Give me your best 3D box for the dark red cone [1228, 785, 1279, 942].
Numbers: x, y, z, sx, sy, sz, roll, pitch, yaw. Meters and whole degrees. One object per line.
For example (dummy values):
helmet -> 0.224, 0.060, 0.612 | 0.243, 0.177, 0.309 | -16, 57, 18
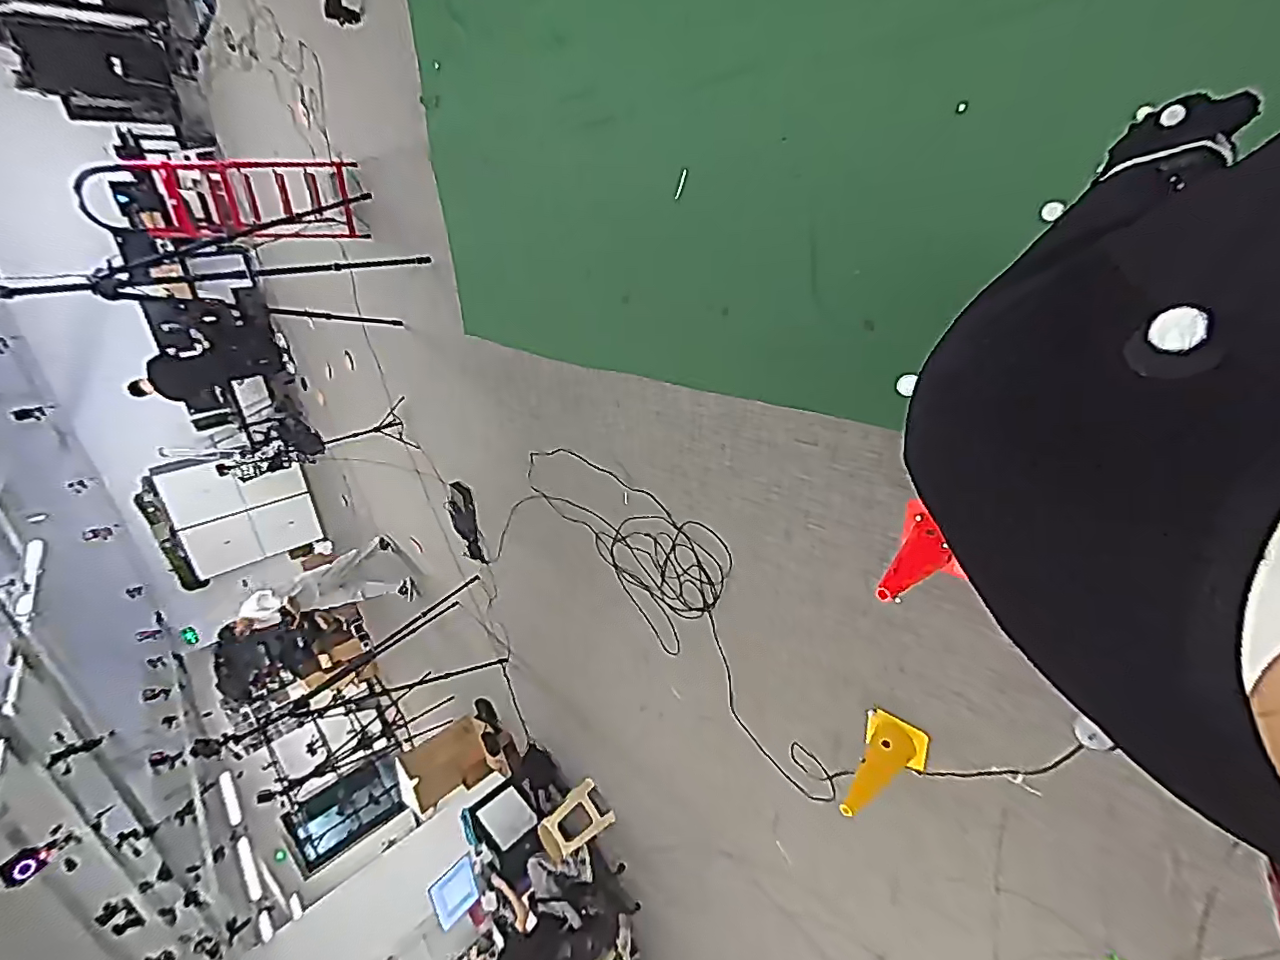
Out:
dark red cone -> 1.283, 0.810, 1.039 | 0.202, 0.394, 0.201 | 16, 119, 45

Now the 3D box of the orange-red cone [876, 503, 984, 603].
orange-red cone -> 0.728, 0.232, 1.433 | 0.198, 0.360, 0.199 | 23, 126, 43
